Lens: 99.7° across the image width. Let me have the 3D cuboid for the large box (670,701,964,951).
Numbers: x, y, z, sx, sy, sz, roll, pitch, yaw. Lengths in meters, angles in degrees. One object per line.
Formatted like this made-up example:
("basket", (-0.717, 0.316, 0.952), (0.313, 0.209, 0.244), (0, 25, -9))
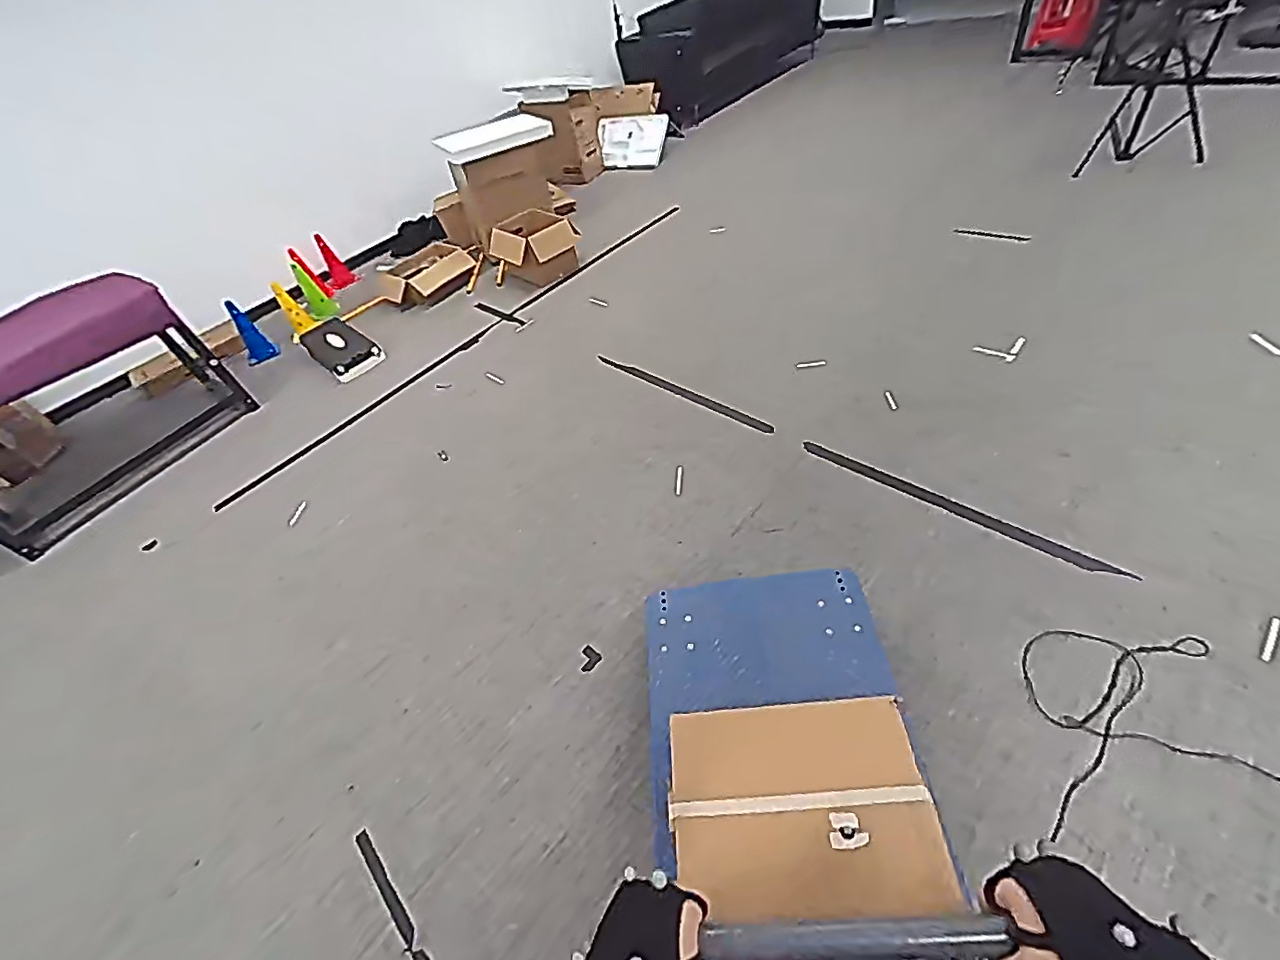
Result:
("large box", (0.278, 0.630, 0.977), (0.408, 0.320, 0.320), (-8, 47, 7))
